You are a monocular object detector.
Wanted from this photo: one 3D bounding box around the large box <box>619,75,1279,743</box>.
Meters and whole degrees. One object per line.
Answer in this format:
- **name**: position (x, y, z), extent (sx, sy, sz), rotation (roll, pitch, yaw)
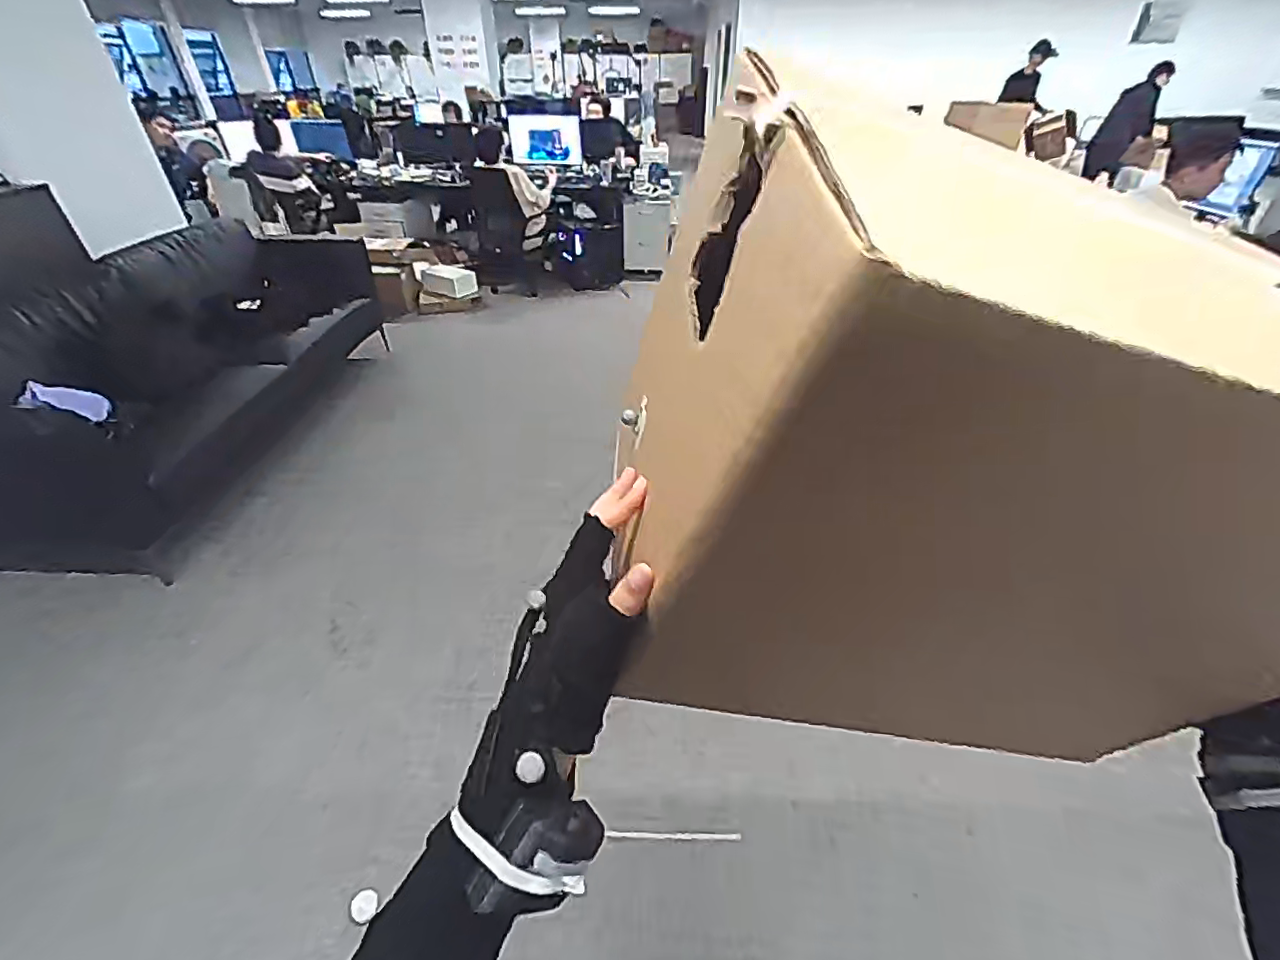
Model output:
- **large box**: position (0.215, -0.028, 0.407), extent (0.408, 0.320, 0.320), rotation (13, 46, -11)
